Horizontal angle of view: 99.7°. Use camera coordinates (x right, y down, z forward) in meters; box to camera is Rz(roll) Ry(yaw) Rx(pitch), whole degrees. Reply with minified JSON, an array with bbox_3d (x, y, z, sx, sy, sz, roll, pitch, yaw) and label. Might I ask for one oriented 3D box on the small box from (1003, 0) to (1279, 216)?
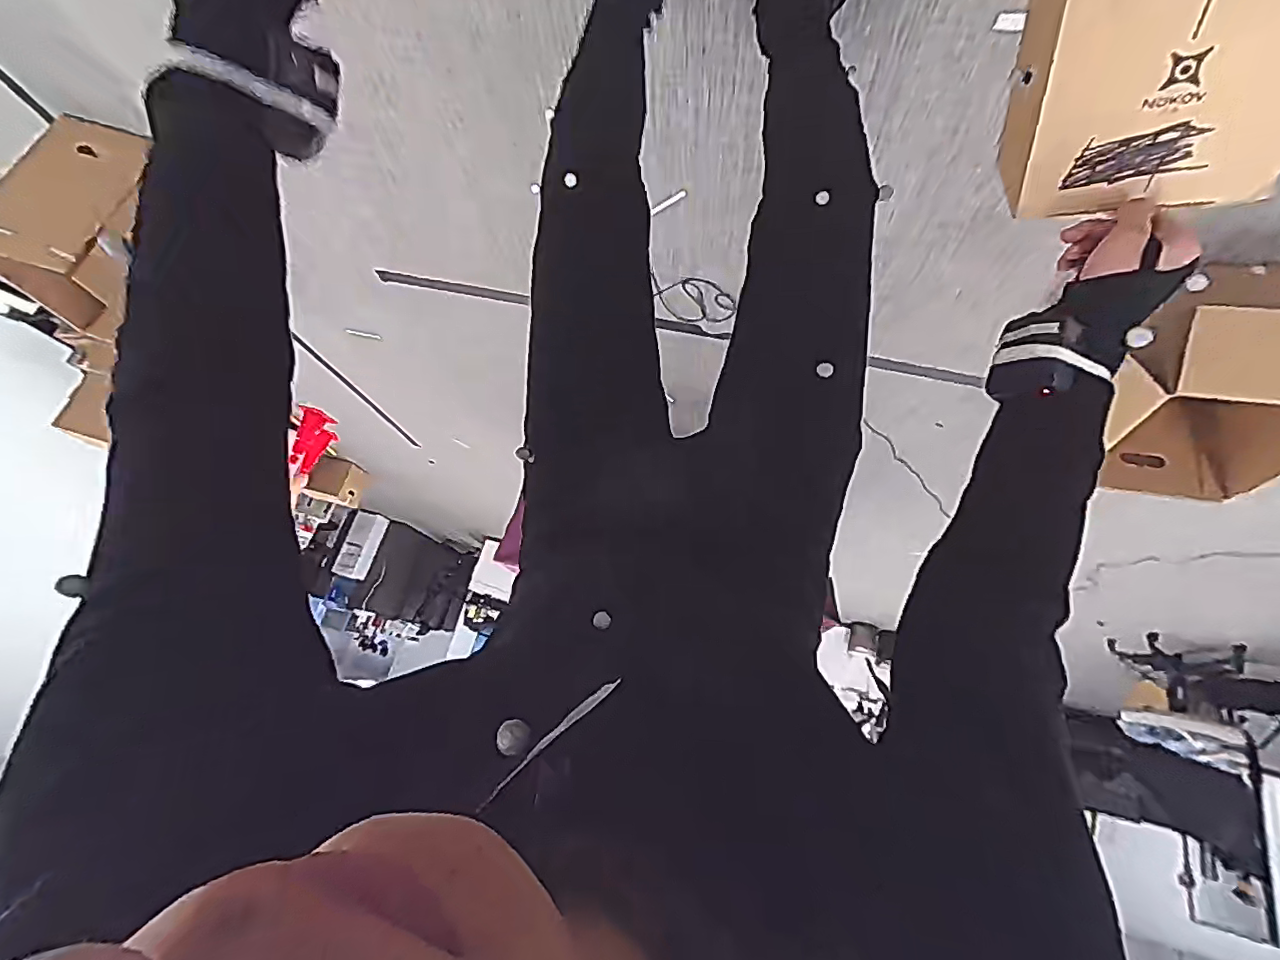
[{"bbox_3d":[0.406,-0.341,0.434,0.168,0.176,0.179,5,135,24],"label":"small box"}]
